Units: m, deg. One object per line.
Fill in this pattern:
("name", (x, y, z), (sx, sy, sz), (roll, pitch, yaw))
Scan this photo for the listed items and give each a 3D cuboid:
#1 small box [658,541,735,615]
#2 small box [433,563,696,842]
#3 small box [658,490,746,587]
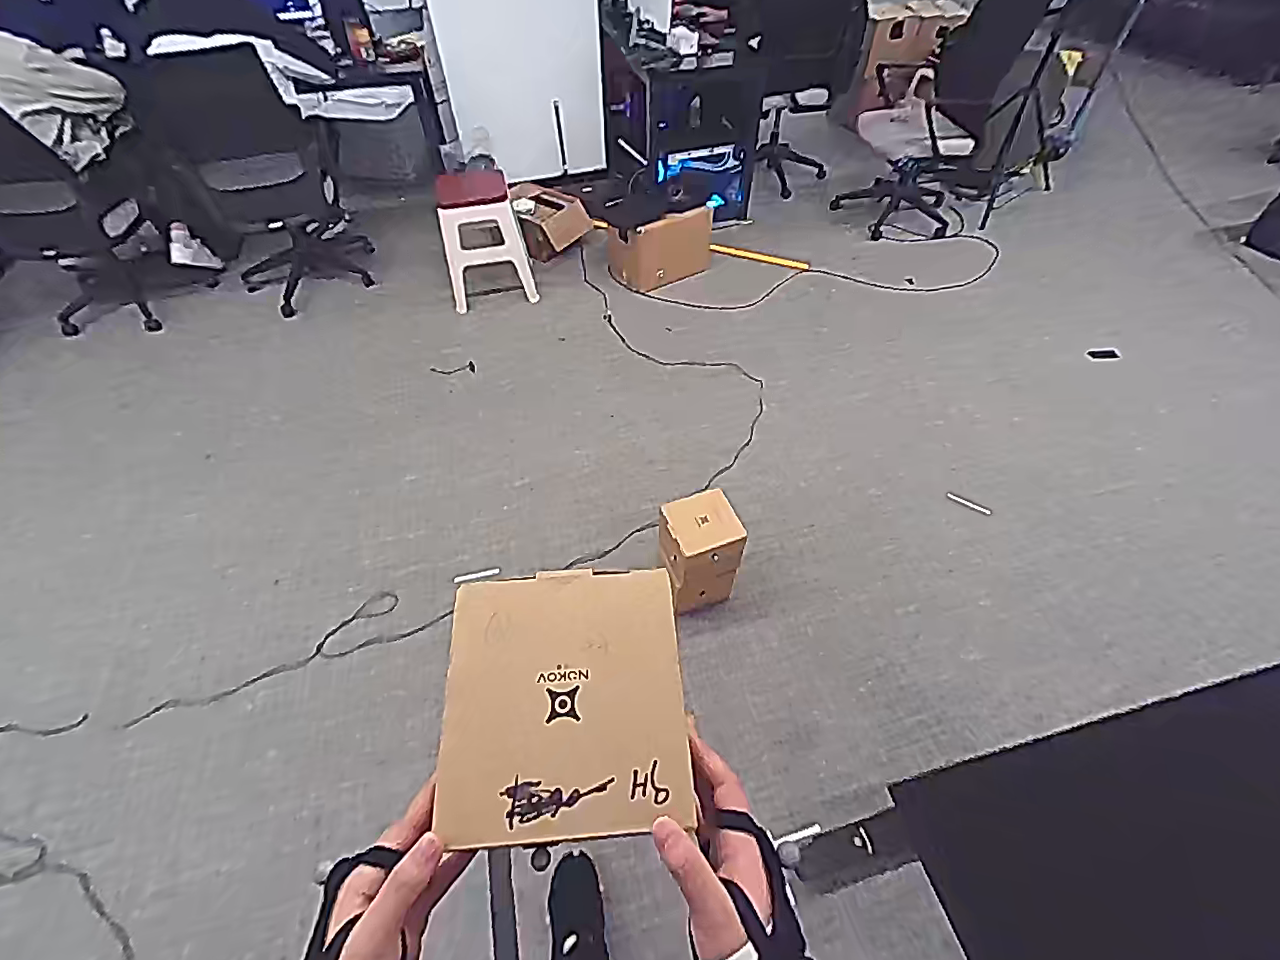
("small box", (0.155, 0.264, 1.561), (0.179, 0.176, 0.168), (-16, 52, -10))
("small box", (-0.052, 0.186, 0.445), (0.168, 0.176, 0.179), (-4, 56, -2))
("small box", (0.158, 0.160, 1.437), (0.179, 0.176, 0.168), (-17, 54, -14))
